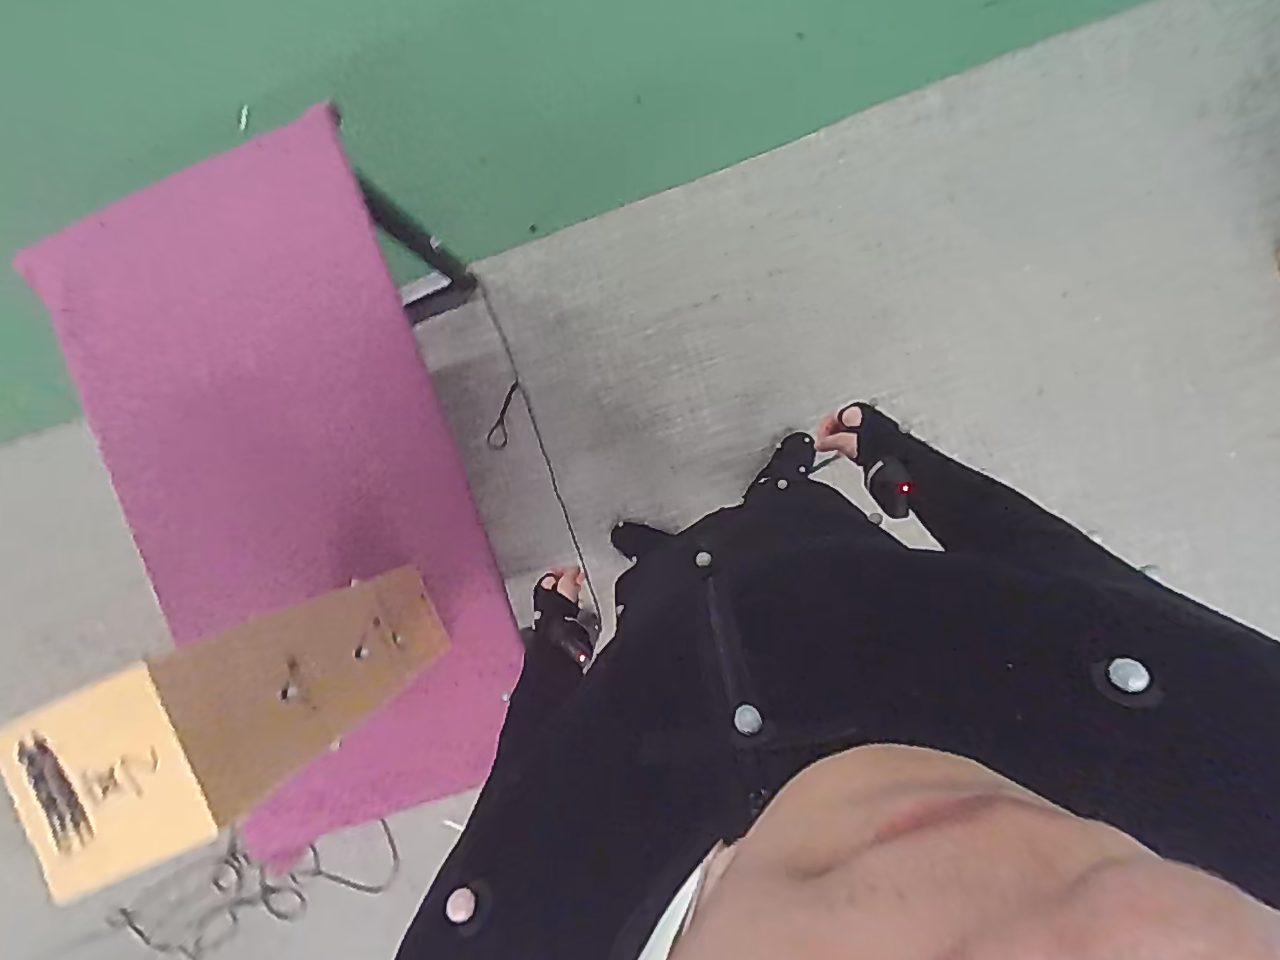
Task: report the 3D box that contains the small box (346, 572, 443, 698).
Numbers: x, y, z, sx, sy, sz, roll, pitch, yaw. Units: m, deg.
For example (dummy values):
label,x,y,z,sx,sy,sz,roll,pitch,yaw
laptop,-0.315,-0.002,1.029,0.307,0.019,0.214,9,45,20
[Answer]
label,x,y,z,sx,sy,sz,roll,pitch,yaw
small box,-0.454,0.268,0.869,0.179,0.176,0.168,-25,91,5

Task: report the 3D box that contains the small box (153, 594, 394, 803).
label,x,y,z,sx,sy,sz,roll,pitch,yaw
small box,-0.452,0.267,0.702,0.179,0.176,0.168,-24,89,5
